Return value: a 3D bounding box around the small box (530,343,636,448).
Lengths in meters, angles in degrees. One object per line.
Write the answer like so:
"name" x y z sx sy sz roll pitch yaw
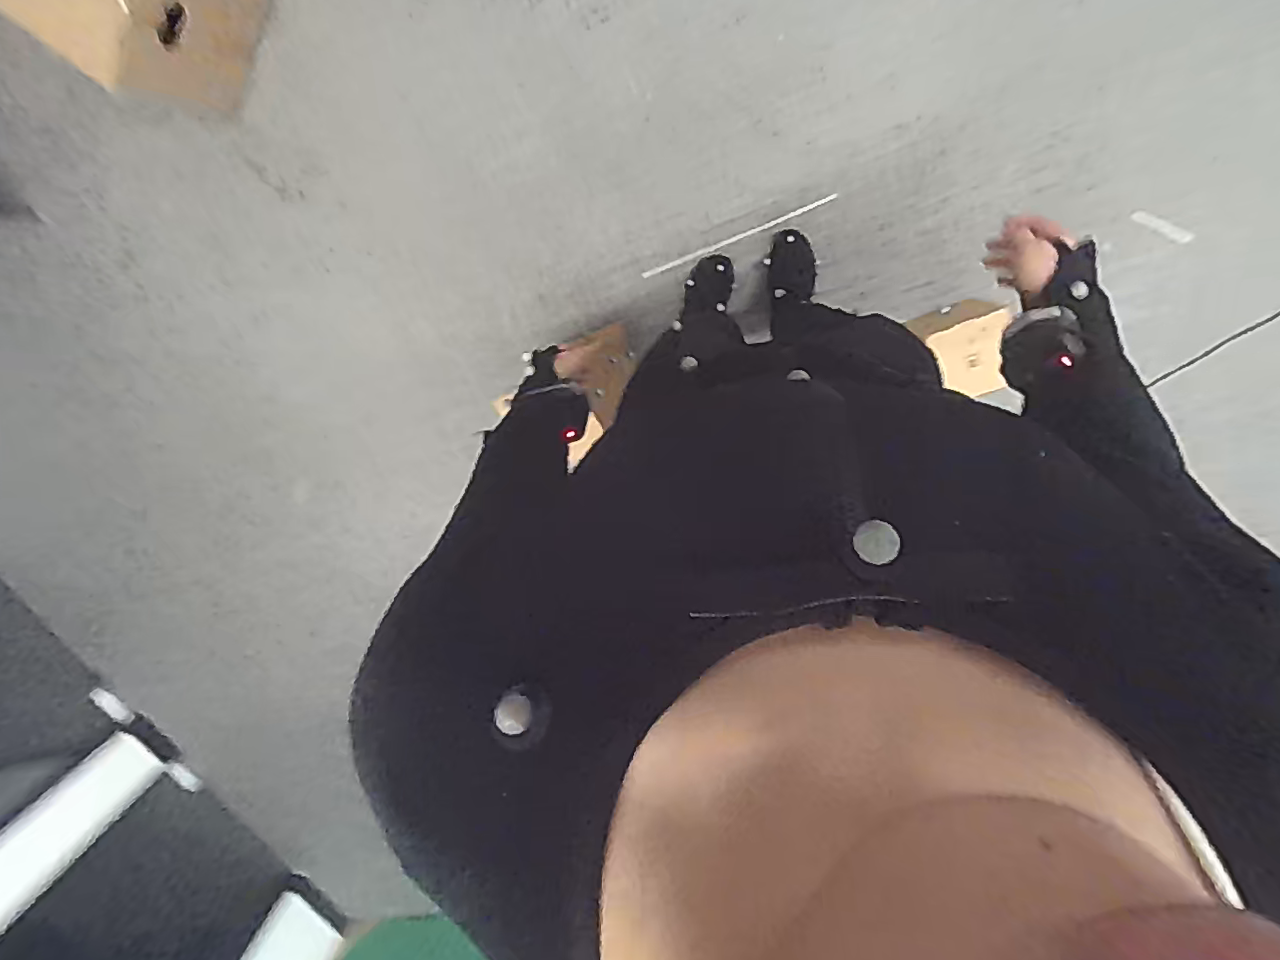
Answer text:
"small box" -0.120 -0.202 1.257 0.179 0.176 0.168 -21 108 19

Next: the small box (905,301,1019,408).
"small box" 0.738 -0.294 1.251 0.168 0.176 0.179 -20 111 17

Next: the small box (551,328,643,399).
"small box" -0.101 -0.279 1.400 0.179 0.176 0.168 -19 110 17
